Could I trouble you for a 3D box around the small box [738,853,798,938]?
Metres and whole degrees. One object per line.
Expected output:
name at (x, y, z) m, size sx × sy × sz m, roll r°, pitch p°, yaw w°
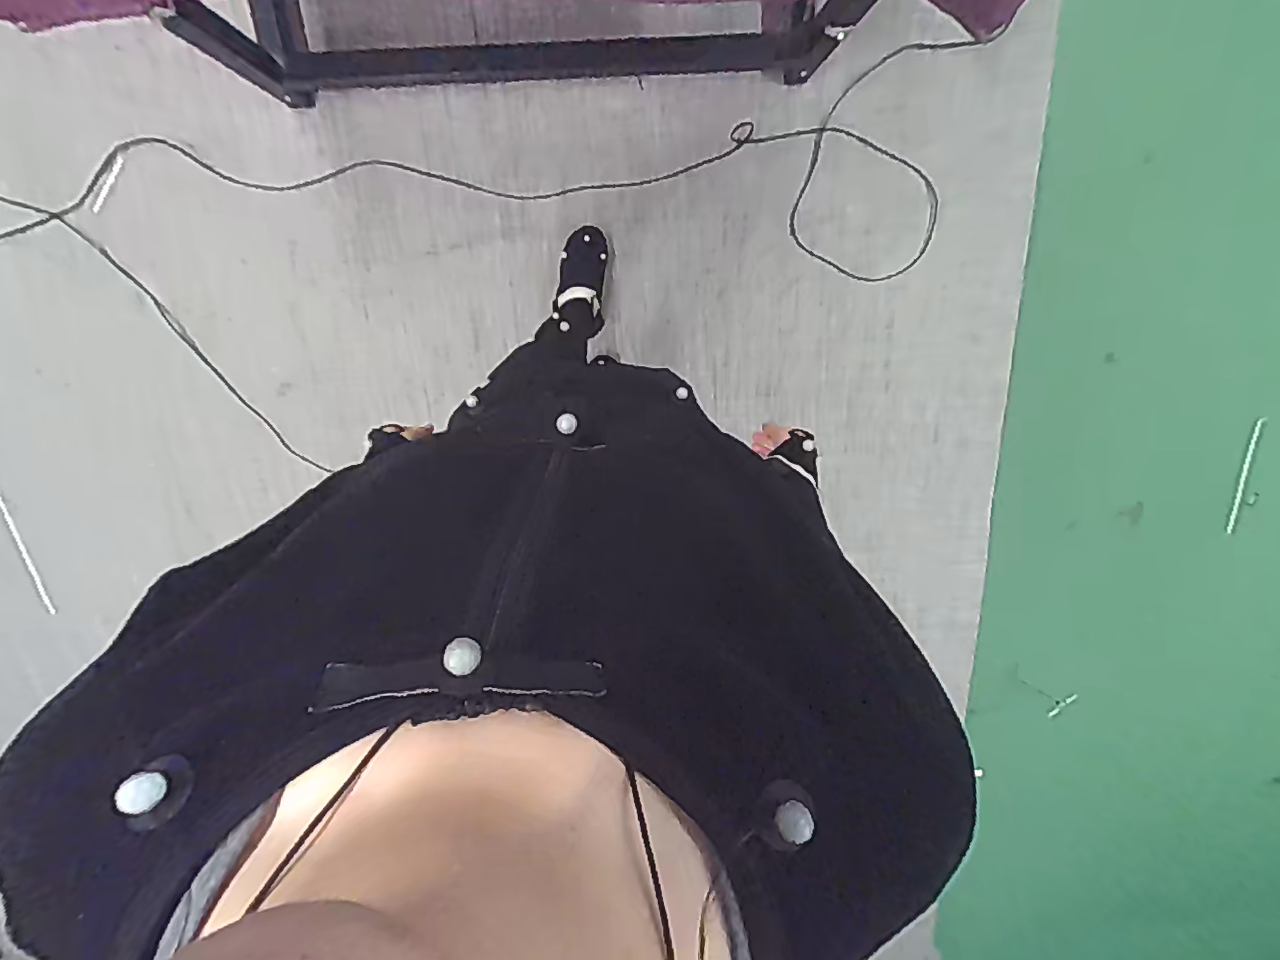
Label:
small box at (0.435, 1.415, 1.855) m, size 0.168 × 0.176 × 0.179 m, roll -6°, pitch 107°, yaw -1°
